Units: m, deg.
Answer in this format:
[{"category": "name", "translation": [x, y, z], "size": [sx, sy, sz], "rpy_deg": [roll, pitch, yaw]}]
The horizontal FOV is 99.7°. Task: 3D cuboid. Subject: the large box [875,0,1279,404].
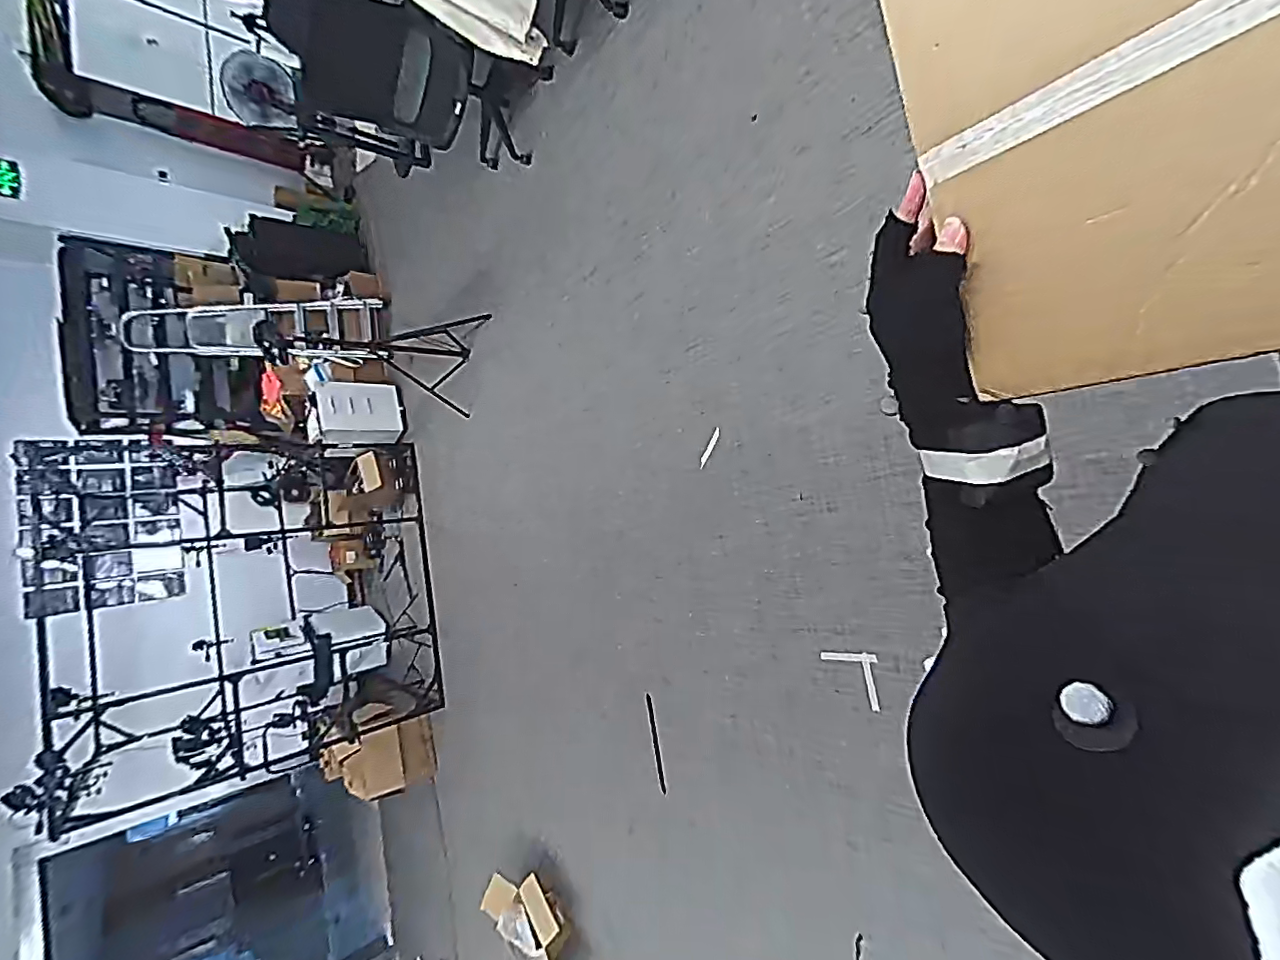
[{"category": "large box", "translation": [0.420, -0.266, 0.294], "size": [0.408, 0.320, 0.320], "rpy_deg": [-9, 101, 52]}]
